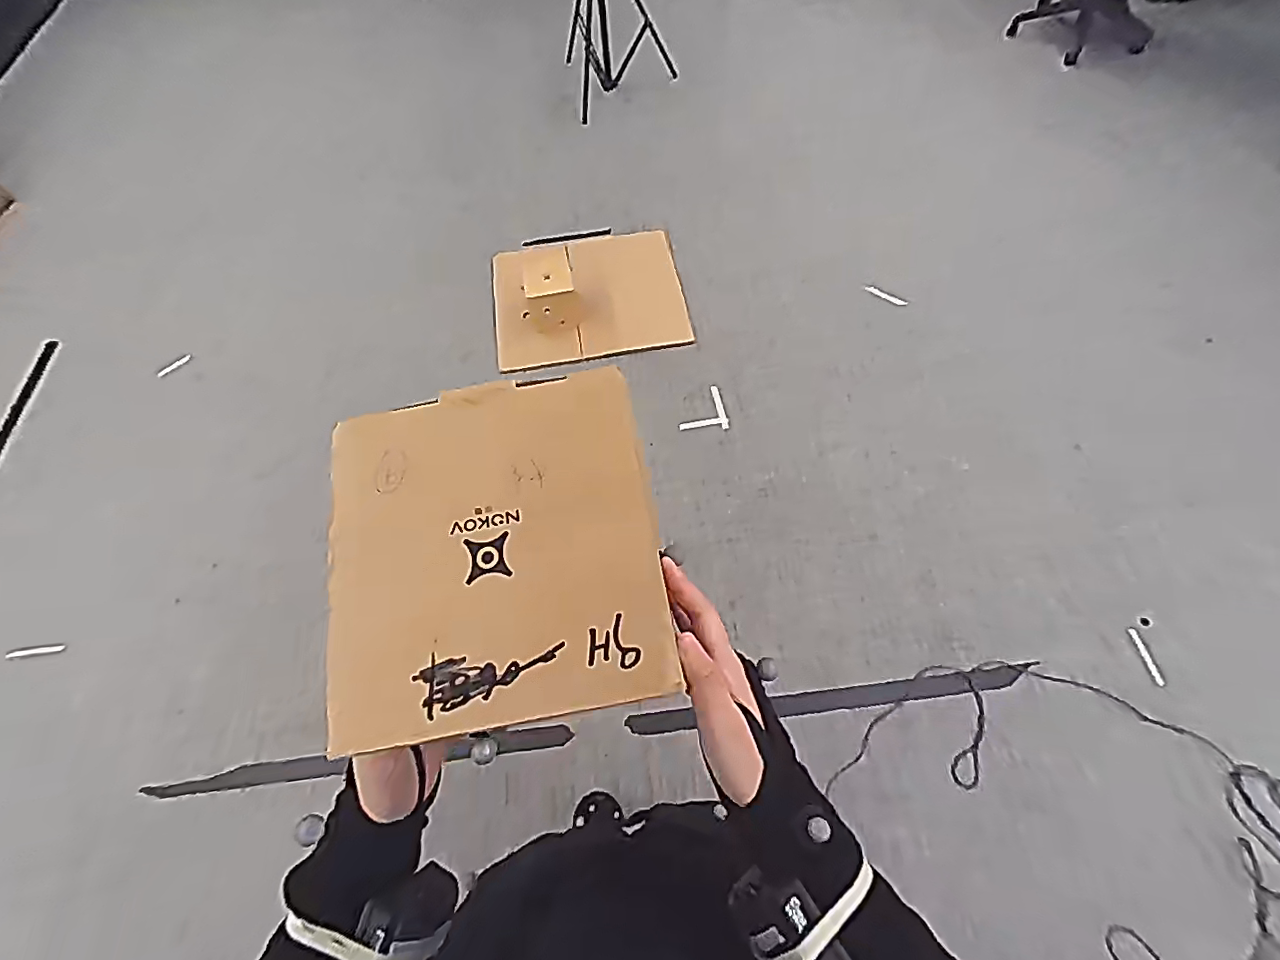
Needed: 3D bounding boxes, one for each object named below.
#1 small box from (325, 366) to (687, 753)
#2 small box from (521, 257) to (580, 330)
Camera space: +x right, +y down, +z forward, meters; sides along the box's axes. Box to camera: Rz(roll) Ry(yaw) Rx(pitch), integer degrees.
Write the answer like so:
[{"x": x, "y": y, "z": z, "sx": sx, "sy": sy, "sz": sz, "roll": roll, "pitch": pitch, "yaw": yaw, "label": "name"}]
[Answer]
[{"x": -0.066, "y": 0.058, "z": 0.344, "sx": 0.168, "sy": 0.176, "sz": 0.179, "roll": -12, "pitch": 69, "yaw": 2, "label": "small box"}, {"x": -0.315, "y": -0.654, "z": 1.919, "sx": 0.168, "sy": 0.176, "sz": 0.179, "roll": -11, "pitch": 62, "yaw": -3, "label": "small box"}]
